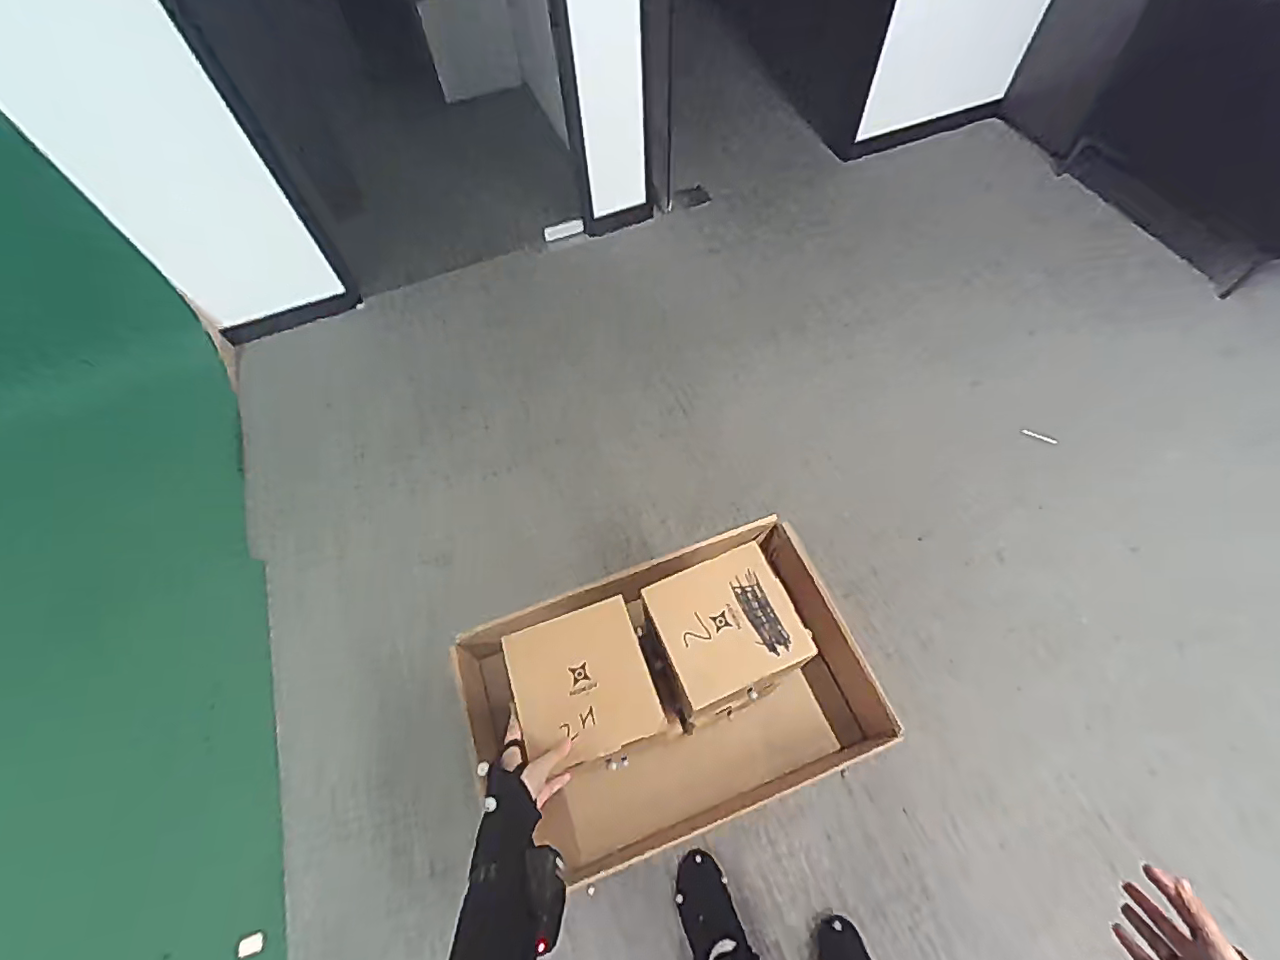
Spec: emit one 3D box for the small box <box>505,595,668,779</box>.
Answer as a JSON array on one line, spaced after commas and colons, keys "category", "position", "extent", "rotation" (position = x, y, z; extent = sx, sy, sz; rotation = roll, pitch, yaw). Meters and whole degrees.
[{"category": "small box", "position": [-0.069, 0.285, 0.732], "extent": [0.168, 0.176, 0.179], "rotation": [-18, 61, -7]}]
